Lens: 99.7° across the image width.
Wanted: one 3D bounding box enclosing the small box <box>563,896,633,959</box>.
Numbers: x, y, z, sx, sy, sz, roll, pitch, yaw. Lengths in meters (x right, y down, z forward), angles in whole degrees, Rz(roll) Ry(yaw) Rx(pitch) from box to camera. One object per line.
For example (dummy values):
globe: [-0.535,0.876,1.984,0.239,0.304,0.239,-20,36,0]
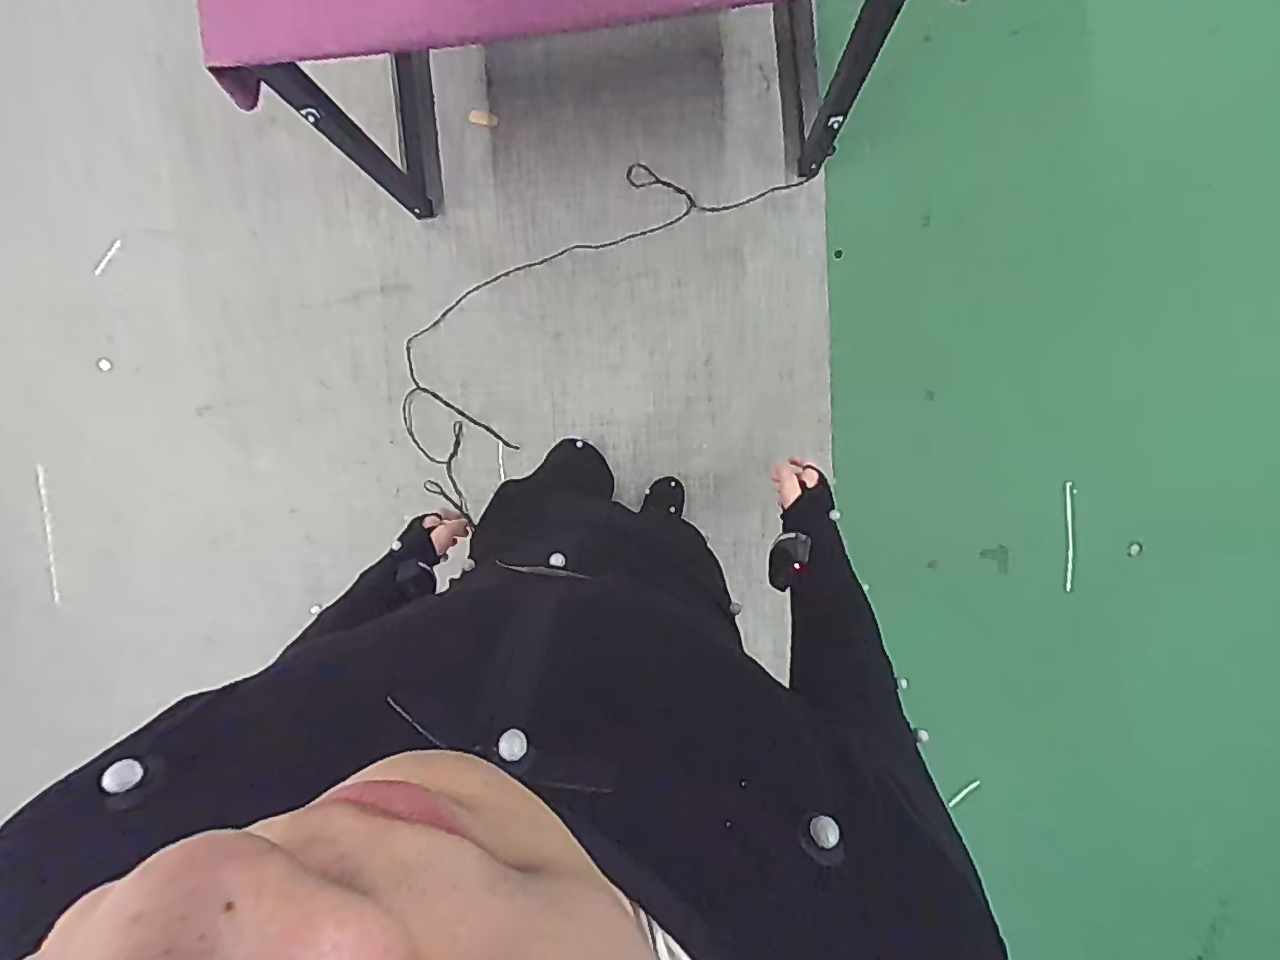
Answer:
small box: [-0.120,1.395,1.610,0.168,0.176,0.179,-10,93,5]
